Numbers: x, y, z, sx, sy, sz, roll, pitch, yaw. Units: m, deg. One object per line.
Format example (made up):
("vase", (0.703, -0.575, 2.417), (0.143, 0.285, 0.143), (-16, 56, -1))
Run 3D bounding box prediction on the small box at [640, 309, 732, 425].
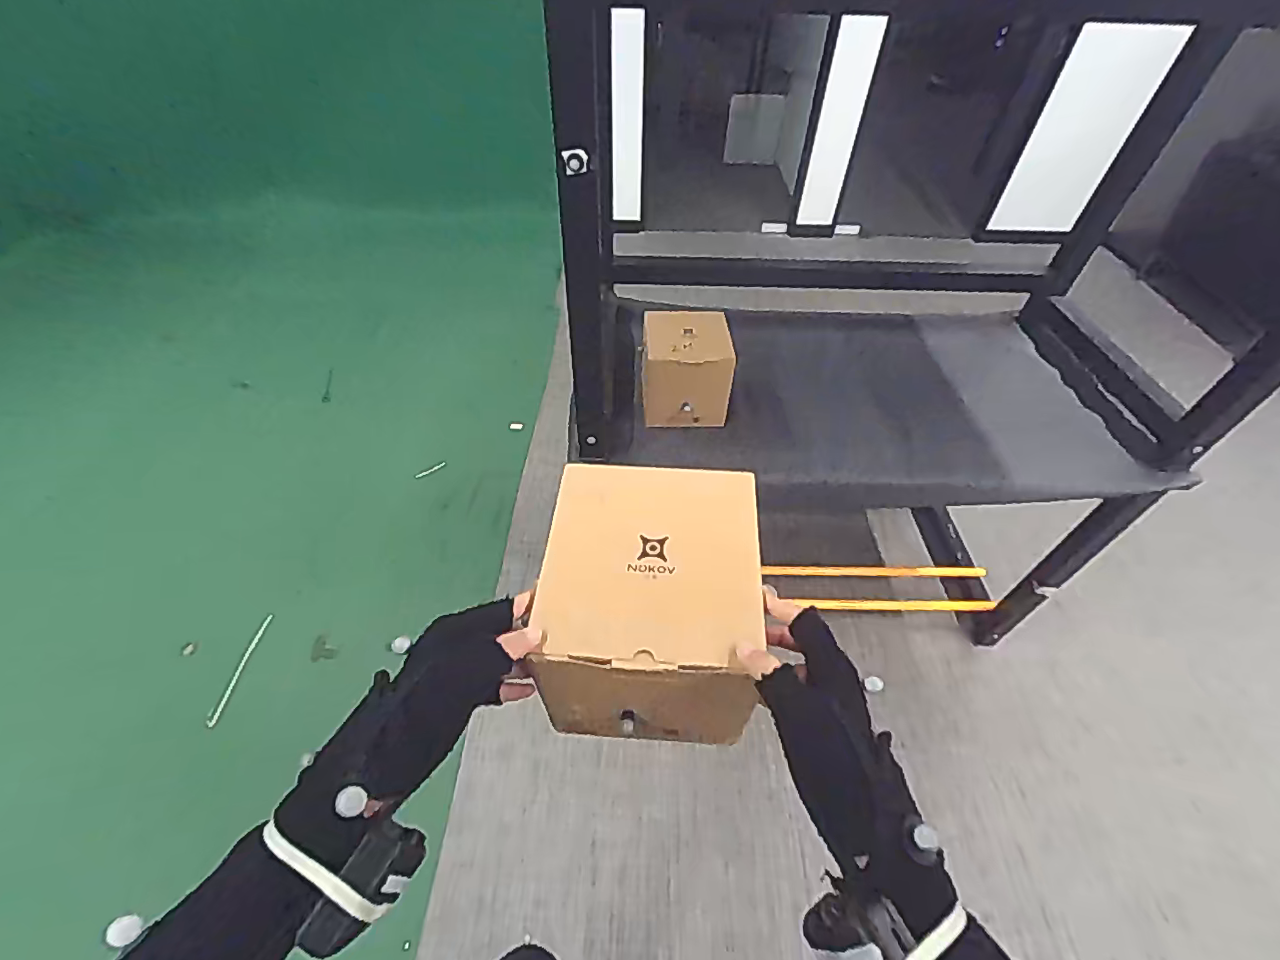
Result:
("small box", (0.086, -0.233, 1.114), (0.168, 0.176, 0.179), (-1, 47, -2))
